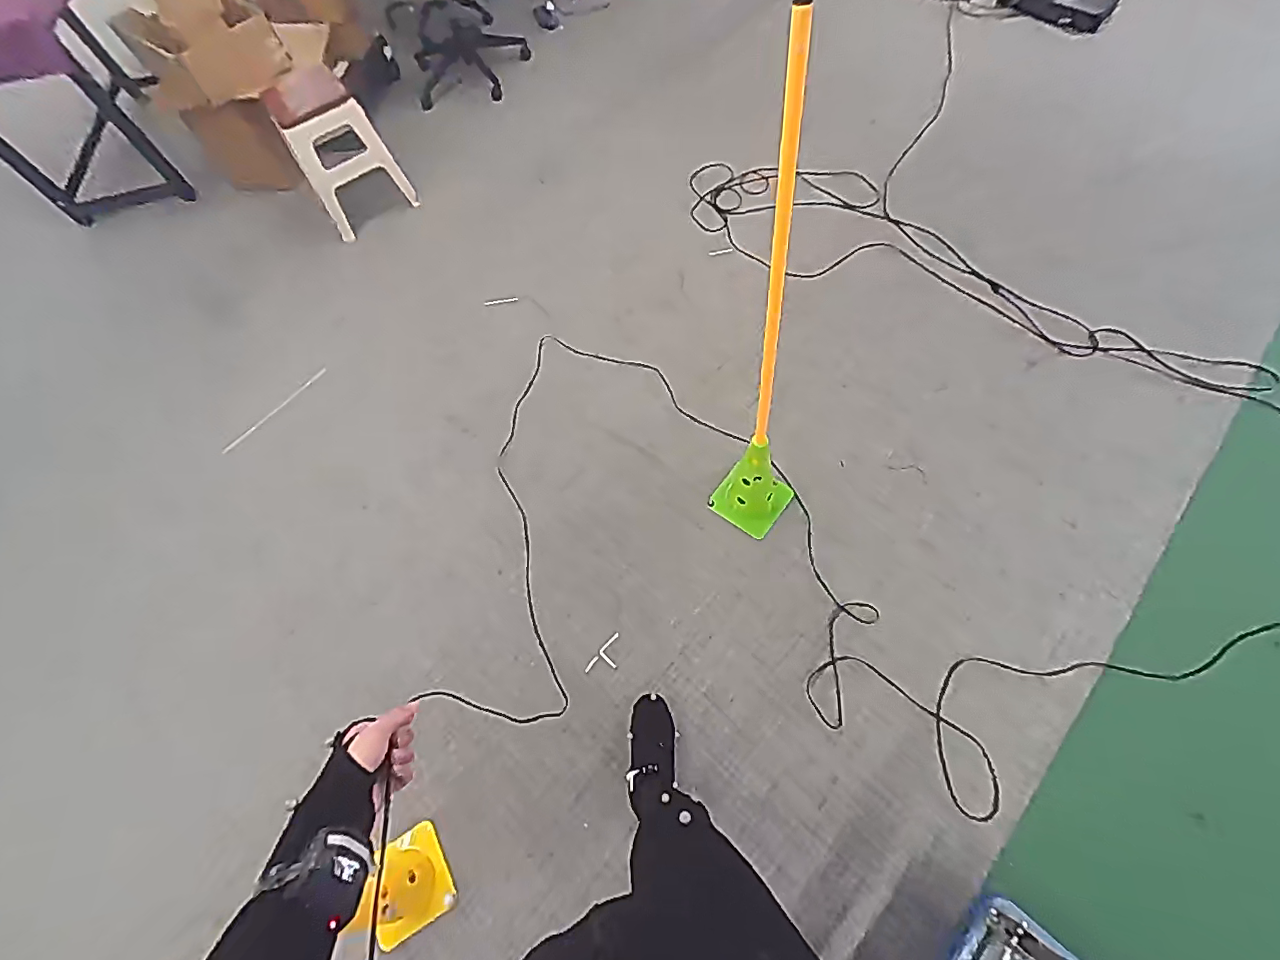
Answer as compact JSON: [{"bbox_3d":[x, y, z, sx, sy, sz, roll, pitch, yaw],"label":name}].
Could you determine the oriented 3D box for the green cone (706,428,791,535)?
[{"bbox_3d":[0.314,-0.028,1.484,0.200,0.368,0.202,33,71,20],"label":"green cone"}]
